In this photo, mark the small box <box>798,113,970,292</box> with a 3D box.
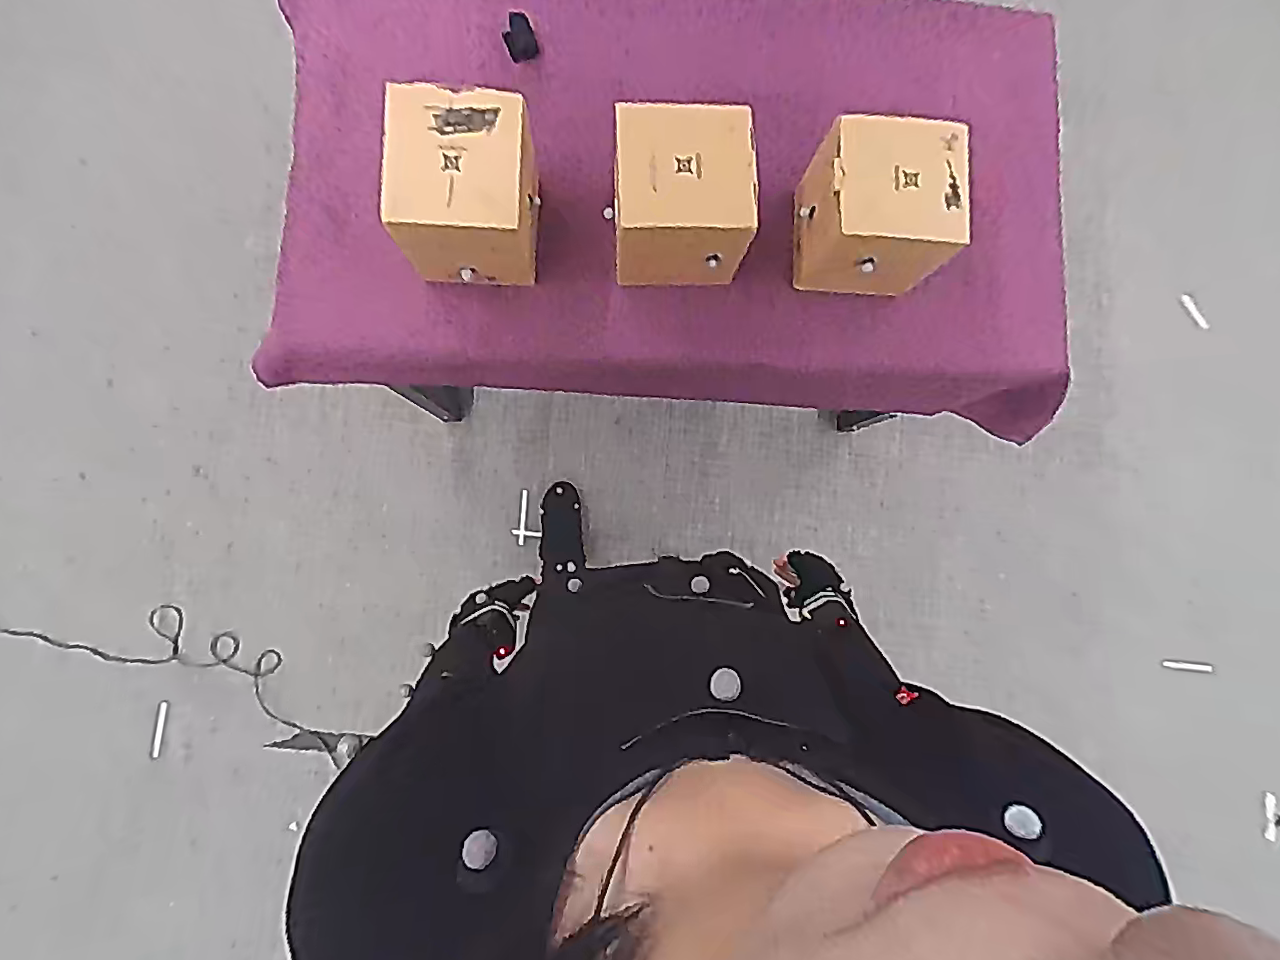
[{"bbox_3d":[0.336,-0.384,0.775,0.179,0.176,0.168,2,85,-3],"label":"small box"}]

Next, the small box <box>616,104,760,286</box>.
[{"bbox_3d":[0.057,-0.387,0.759,0.179,0.176,0.168,-3,84,-3],"label":"small box"}]
